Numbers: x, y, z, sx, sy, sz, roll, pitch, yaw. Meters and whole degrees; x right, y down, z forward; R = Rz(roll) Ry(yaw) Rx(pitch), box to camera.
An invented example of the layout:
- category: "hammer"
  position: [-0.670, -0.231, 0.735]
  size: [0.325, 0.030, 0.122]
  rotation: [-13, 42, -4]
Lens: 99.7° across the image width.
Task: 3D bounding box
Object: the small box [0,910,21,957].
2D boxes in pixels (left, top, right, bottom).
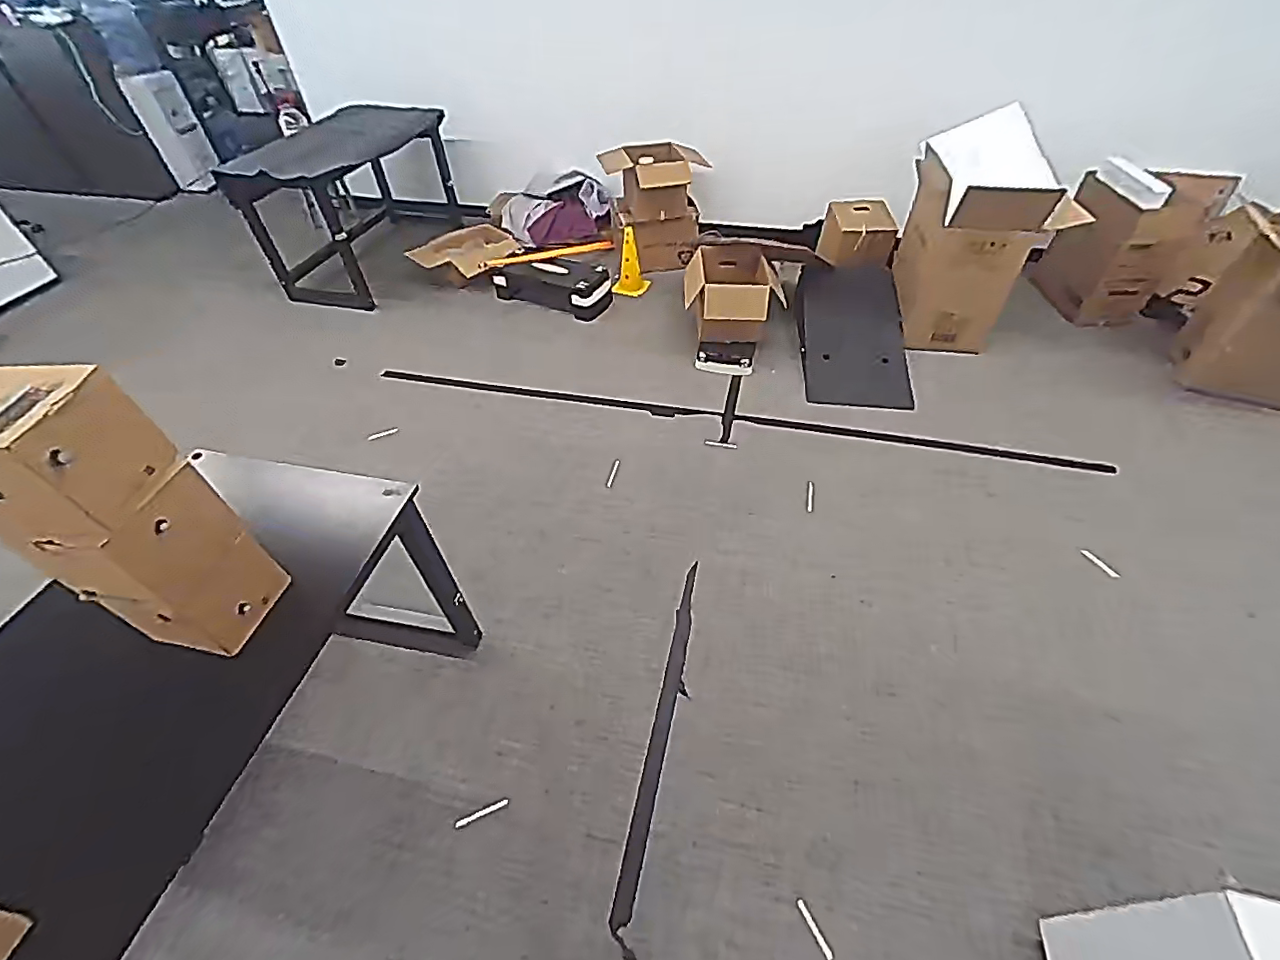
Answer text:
- category: "small box"
  position: [-0.904, 0.574, 0.614]
  size: [0.179, 0.176, 0.168]
  rotation: [8, 48, 8]

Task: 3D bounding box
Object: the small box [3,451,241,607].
- category: "small box"
  position: [-0.787, 0.079, 0.851]
  size: [0.168, 0.176, 0.179]
  rotation: [6, 47, 6]

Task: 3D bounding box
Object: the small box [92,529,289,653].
- category: "small box"
  position: [-0.790, 0.190, 0.972]
  size: [0.179, 0.176, 0.168]
  rotation: [8, 48, 9]
